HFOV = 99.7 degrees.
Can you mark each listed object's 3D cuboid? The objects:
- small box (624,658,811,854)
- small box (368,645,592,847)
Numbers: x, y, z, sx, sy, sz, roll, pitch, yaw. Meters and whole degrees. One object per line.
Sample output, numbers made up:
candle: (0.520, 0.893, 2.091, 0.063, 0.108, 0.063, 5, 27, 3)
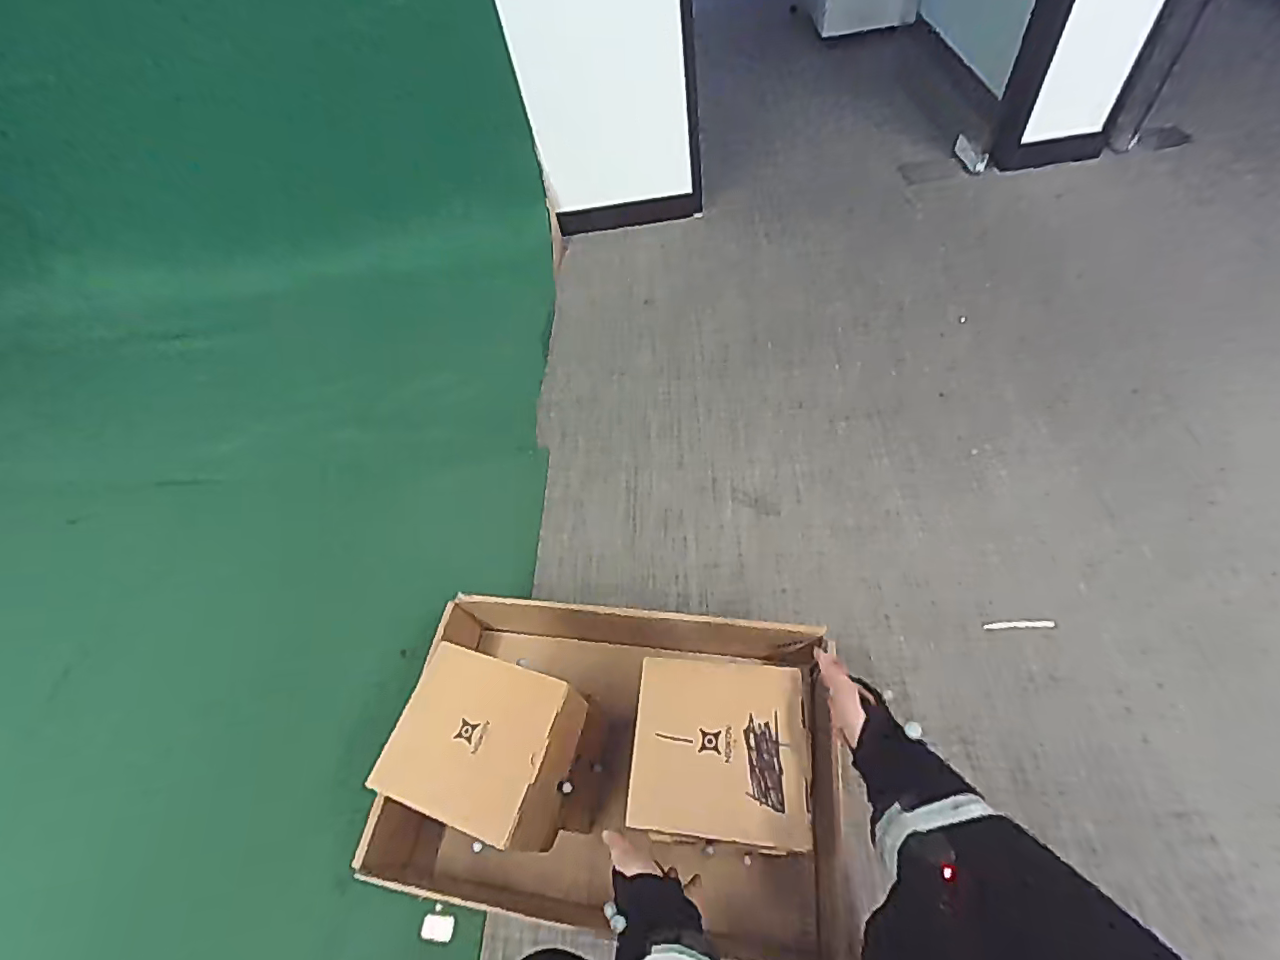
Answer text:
small box: (0.090, 0.314, 0.613, 0.179, 0.176, 0.168, 0, 55, 11)
small box: (-0.177, 0.327, 0.658, 0.179, 0.176, 0.168, 12, 58, 16)
